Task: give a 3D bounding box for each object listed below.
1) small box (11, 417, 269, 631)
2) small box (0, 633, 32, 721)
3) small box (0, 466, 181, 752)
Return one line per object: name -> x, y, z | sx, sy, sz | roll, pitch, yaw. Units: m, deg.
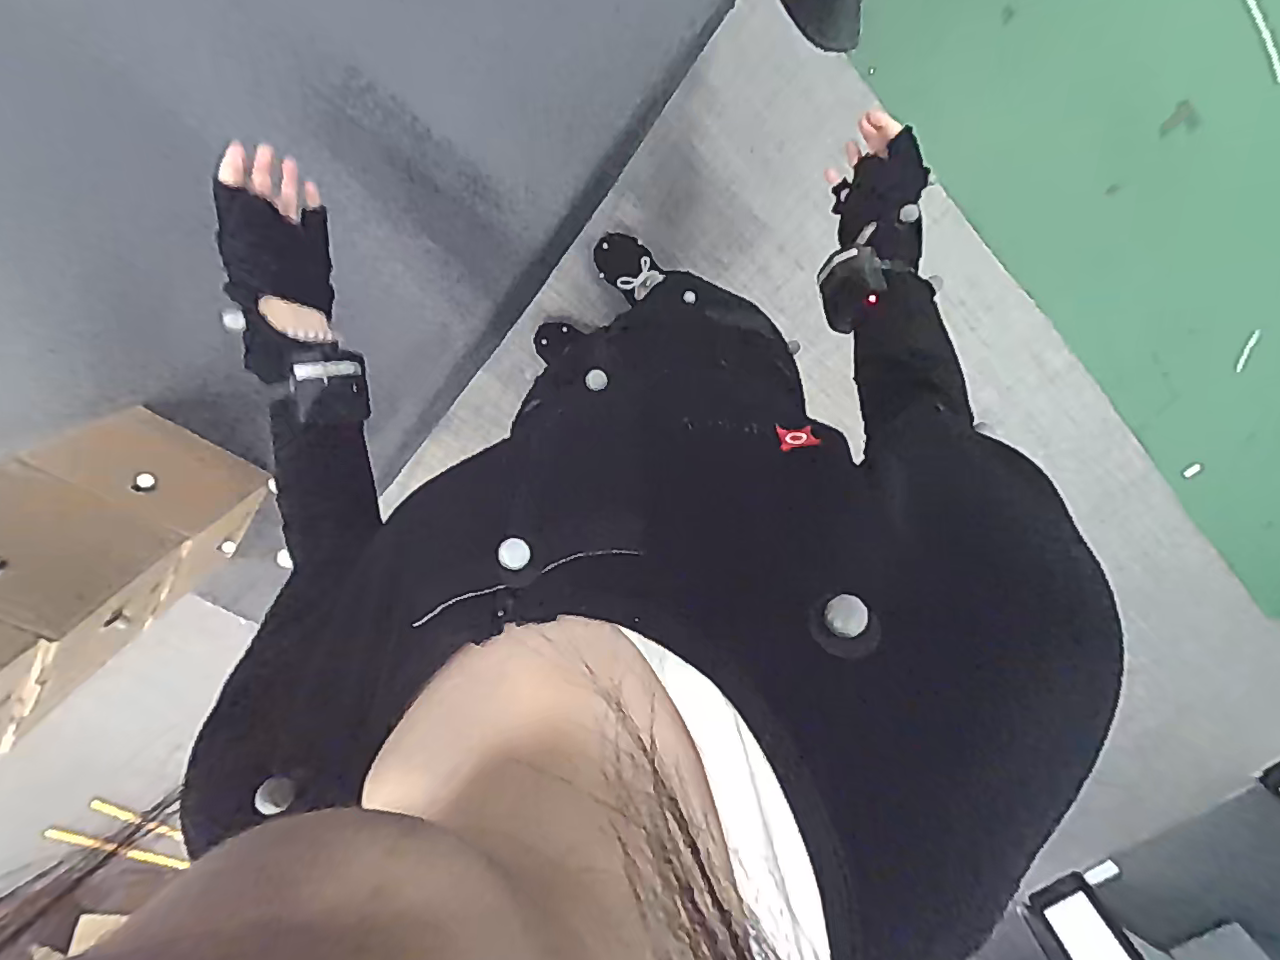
small box -> -0.613, 0.043, 0.664 | 0.179, 0.176, 0.168 | 34, 110, -19
small box -> -0.599, 0.182, 0.368 | 0.179, 0.176, 0.168 | 33, 109, -18
small box -> -0.603, 0.113, 0.517 | 0.179, 0.176, 0.168 | 34, 109, -19
